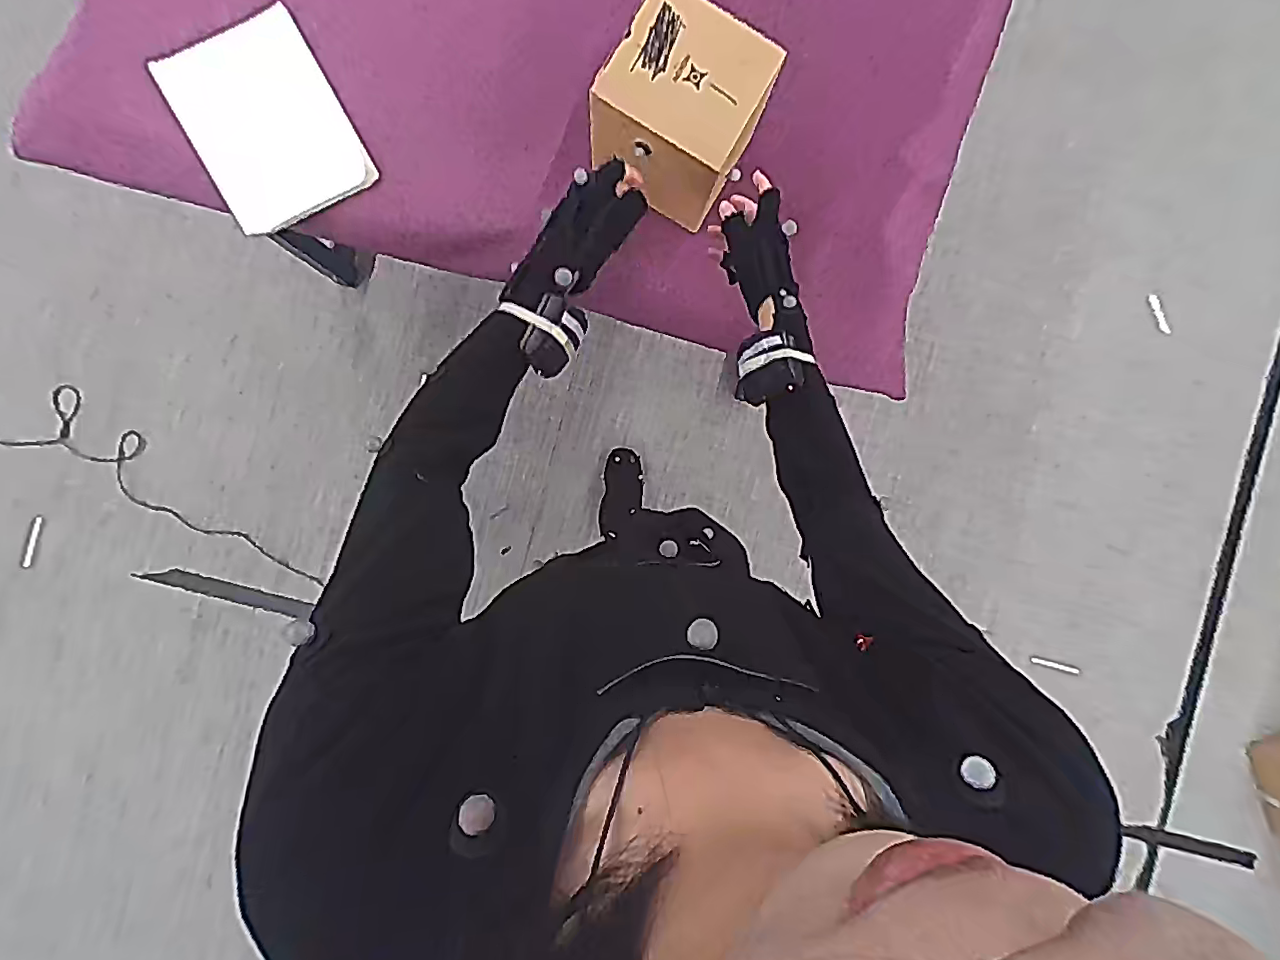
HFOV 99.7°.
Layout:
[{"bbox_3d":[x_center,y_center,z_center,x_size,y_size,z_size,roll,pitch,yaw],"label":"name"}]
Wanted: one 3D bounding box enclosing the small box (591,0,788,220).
[{"bbox_3d":[0.053,-0.475,0.697,0.179,0.176,0.168,30,89,-3],"label":"small box"}]
